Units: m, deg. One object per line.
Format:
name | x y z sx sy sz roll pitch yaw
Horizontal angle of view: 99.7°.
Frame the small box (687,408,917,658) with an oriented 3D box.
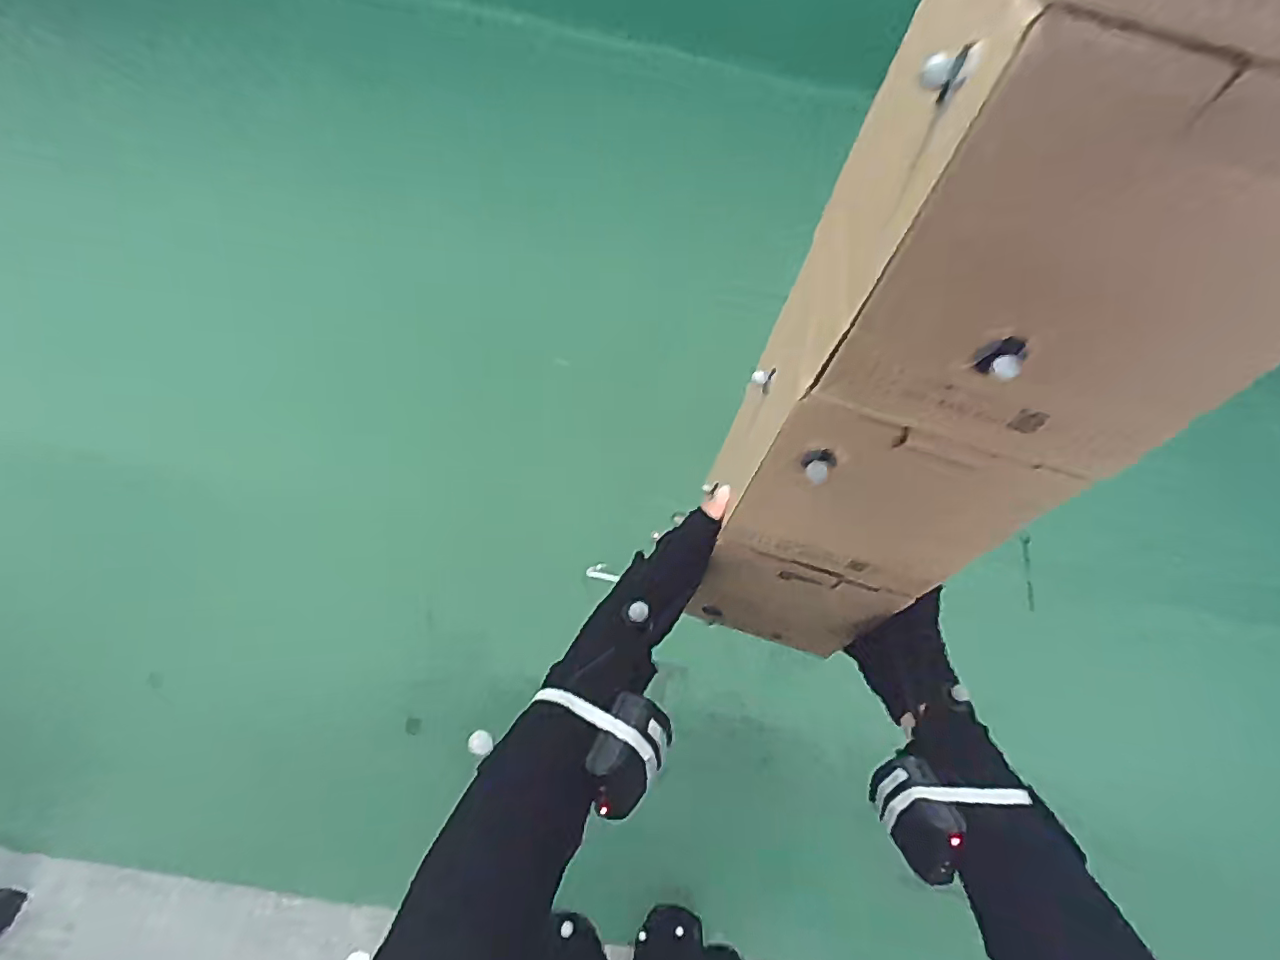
small box | 0.150 0.061 0.545 0.168 0.176 0.179 15 56 -1
